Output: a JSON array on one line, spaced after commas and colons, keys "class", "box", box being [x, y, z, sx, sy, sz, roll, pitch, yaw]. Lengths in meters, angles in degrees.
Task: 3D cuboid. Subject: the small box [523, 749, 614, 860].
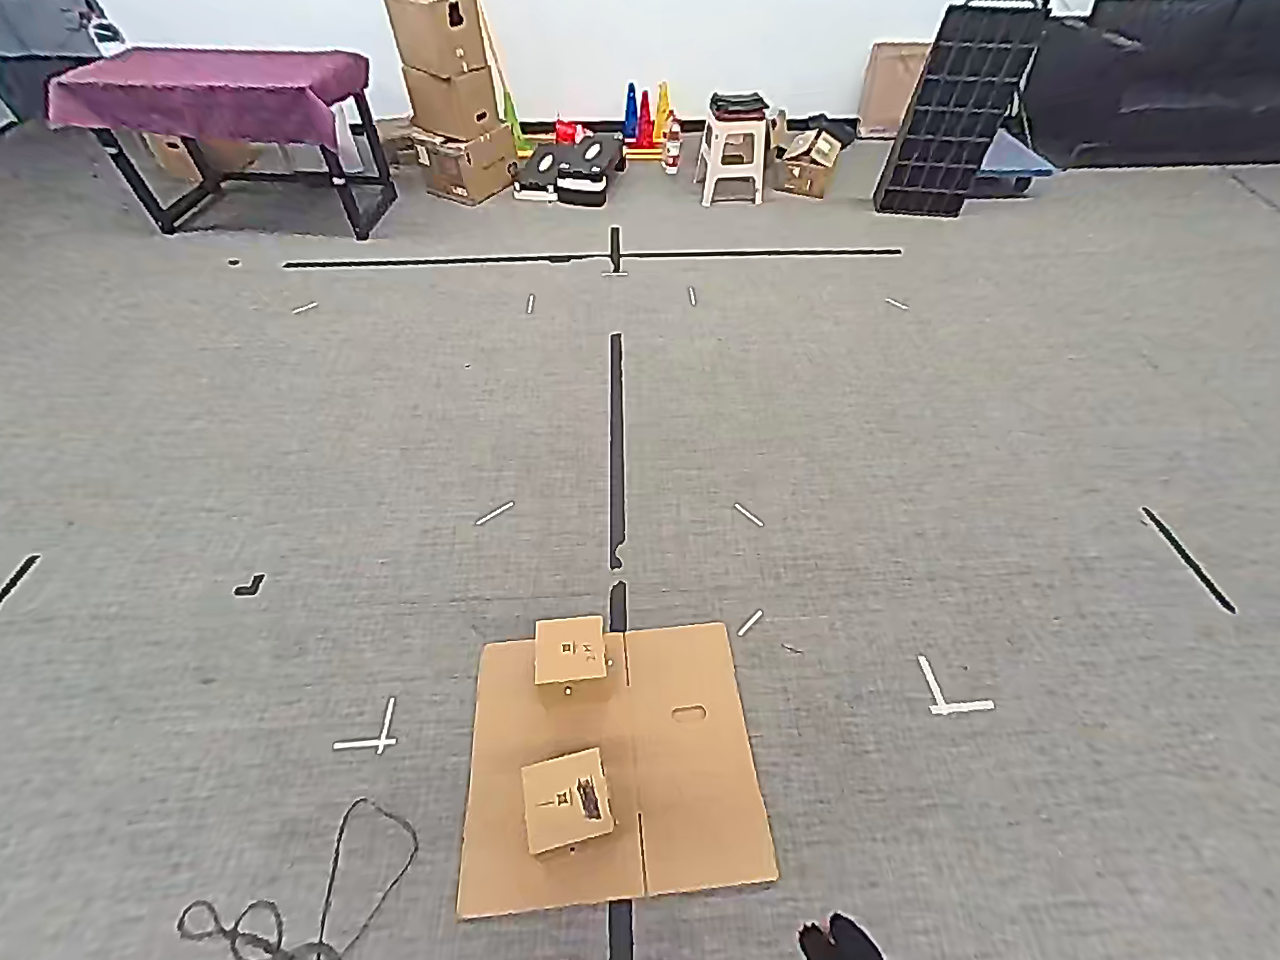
[{"class": "small box", "box": [-0.157, 0.727, 1.210, 0.179, 0.176, 0.168, -10, 50, -9]}]

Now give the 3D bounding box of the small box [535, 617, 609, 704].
[{"class": "small box", "box": [-0.174, 0.478, 1.422, 0.179, 0.176, 0.168, -3, 50, -4]}]
